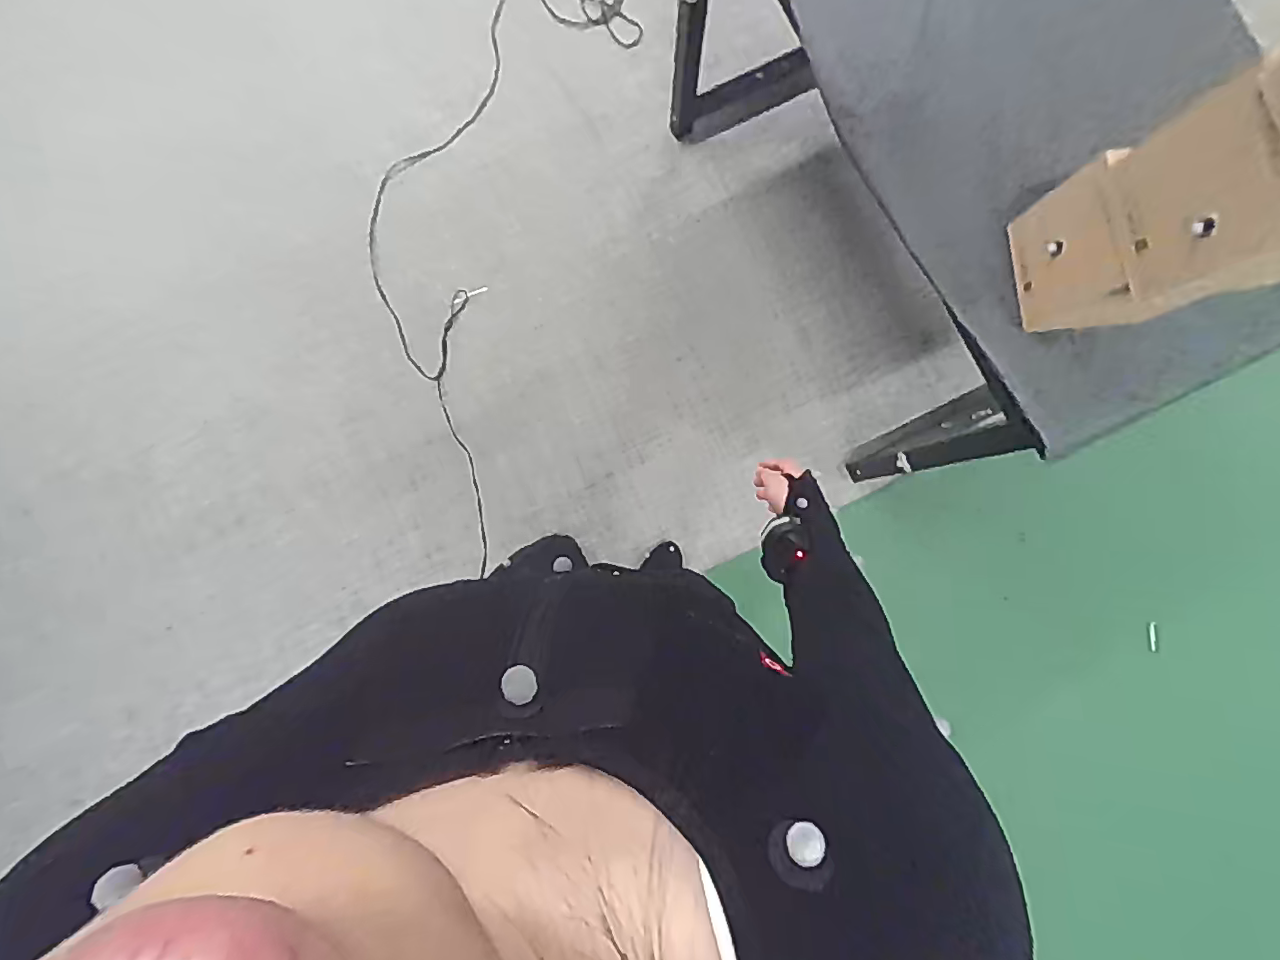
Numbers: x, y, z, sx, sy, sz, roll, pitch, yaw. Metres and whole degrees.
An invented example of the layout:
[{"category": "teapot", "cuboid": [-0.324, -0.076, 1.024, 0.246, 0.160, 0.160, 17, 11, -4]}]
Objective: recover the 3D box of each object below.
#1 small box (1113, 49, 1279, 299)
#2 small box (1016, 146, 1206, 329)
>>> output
[{"category": "small box", "cuboid": [0.635, -0.302, 0.550, 0.179, 0.176, 0.168, -10, 86, -3]}, {"category": "small box", "cuboid": [0.634, -0.309, 0.713, 0.179, 0.176, 0.168, -5, 85, -2]}]
